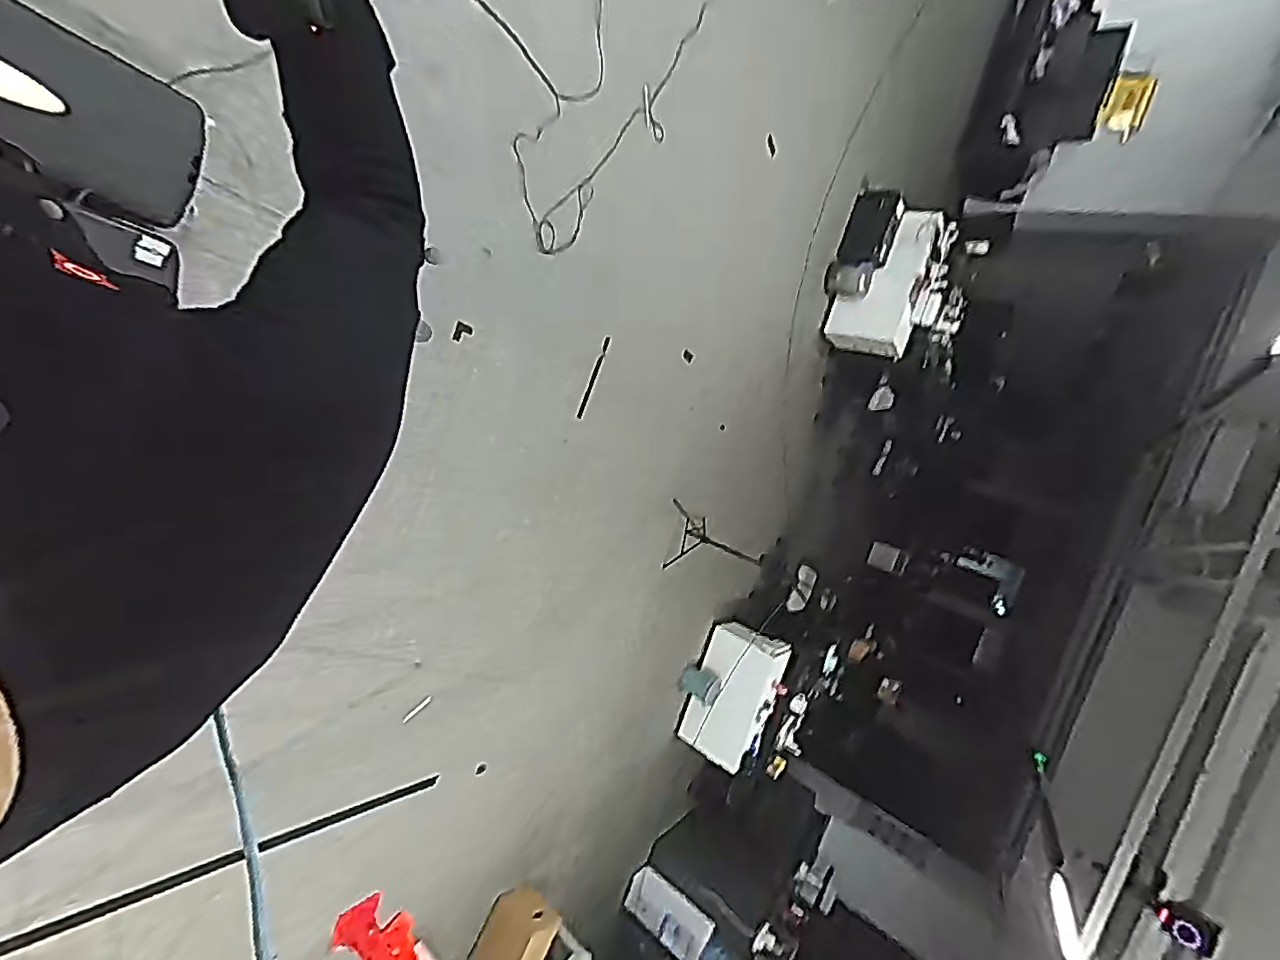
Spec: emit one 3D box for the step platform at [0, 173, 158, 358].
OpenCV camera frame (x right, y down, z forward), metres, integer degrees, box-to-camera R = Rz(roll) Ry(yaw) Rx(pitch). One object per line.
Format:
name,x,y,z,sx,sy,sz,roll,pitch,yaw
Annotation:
step platform,-1.260,-0.429,0.899,0.684,0.204,0.286,10,99,-55
